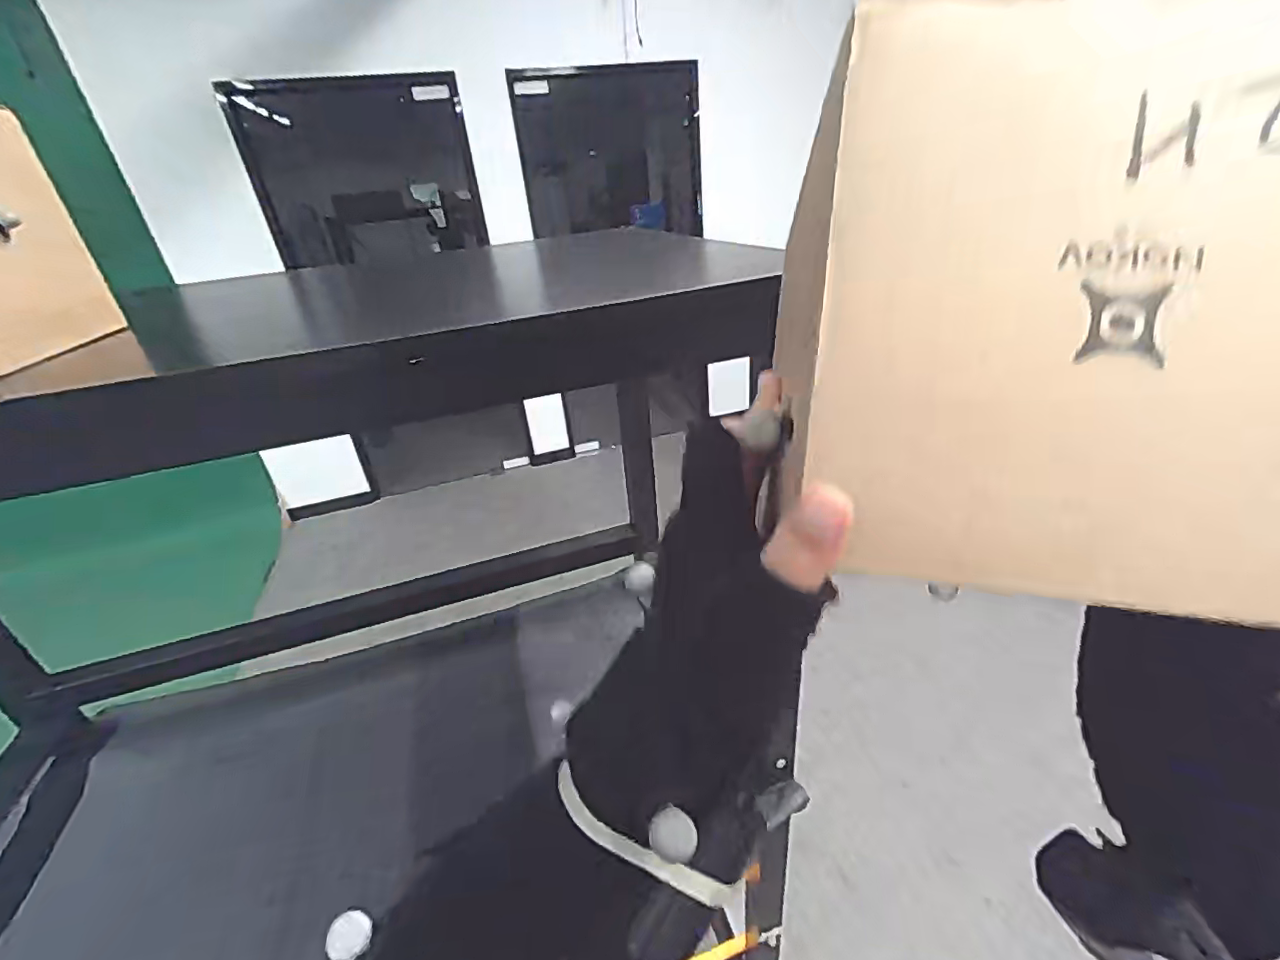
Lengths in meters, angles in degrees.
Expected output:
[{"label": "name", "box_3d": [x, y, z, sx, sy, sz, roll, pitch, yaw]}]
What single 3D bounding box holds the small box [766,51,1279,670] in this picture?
[{"label": "small box", "box_3d": [0.151, -0.038, 0.238, 0.168, 0.179, 0.176, 7, -1, 8]}]
